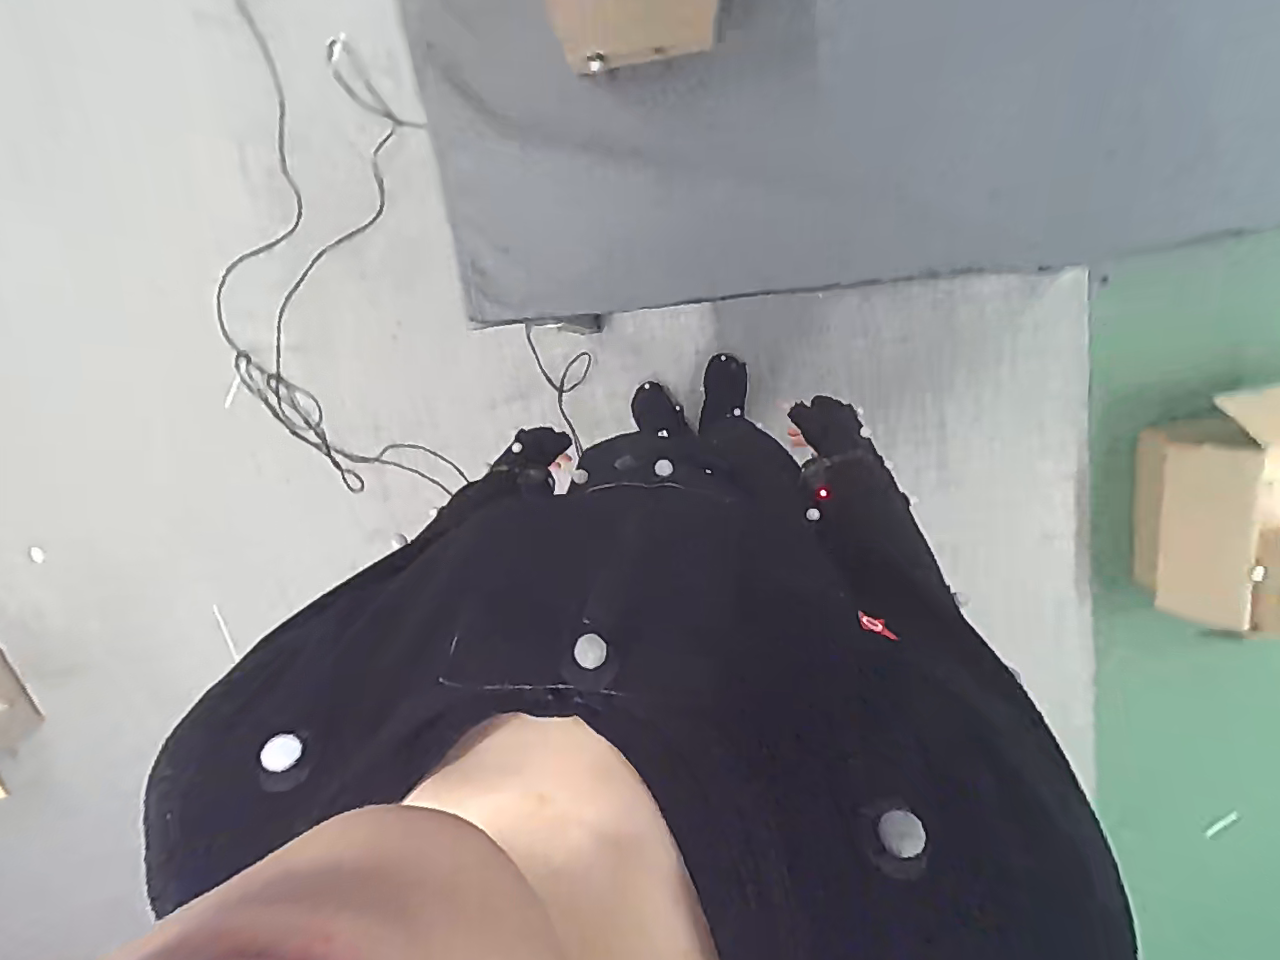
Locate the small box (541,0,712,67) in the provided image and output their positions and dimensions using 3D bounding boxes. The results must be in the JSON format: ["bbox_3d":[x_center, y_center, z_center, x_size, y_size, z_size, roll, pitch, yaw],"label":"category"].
[{"bbox_3d":[-0.017,-0.545,0.529,0.168,0.176,0.179,-7,101,5],"label":"small box"}]
